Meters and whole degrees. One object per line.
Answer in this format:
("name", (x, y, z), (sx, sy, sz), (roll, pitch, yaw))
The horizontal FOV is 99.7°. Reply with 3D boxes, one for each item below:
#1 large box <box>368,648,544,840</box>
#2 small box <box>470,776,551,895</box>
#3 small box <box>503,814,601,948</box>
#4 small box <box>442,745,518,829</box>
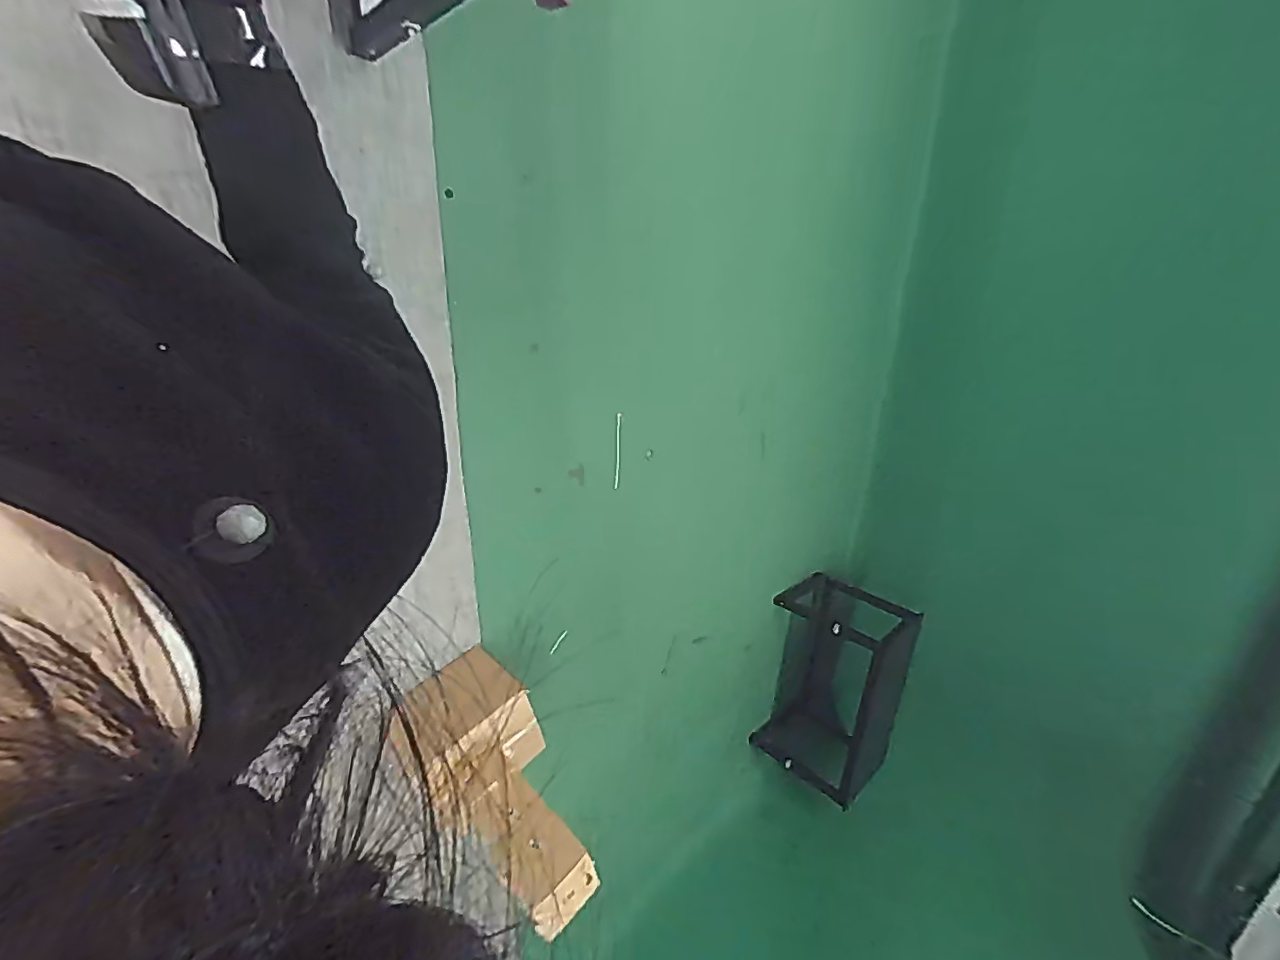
("large box", (-0.596, 0.848, 1.786), (0.408, 0.320, 0.320), (-34, 129, -35))
("small box", (-0.345, 0.968, 1.485), (0.179, 0.176, 0.168), (-33, 127, -34))
("small box", (-0.228, 1.012, 1.377), (0.179, 0.176, 0.168), (-31, 126, -33))
("small box", (-0.457, 0.921, 1.594), (0.168, 0.176, 0.179), (-32, 126, -34))
